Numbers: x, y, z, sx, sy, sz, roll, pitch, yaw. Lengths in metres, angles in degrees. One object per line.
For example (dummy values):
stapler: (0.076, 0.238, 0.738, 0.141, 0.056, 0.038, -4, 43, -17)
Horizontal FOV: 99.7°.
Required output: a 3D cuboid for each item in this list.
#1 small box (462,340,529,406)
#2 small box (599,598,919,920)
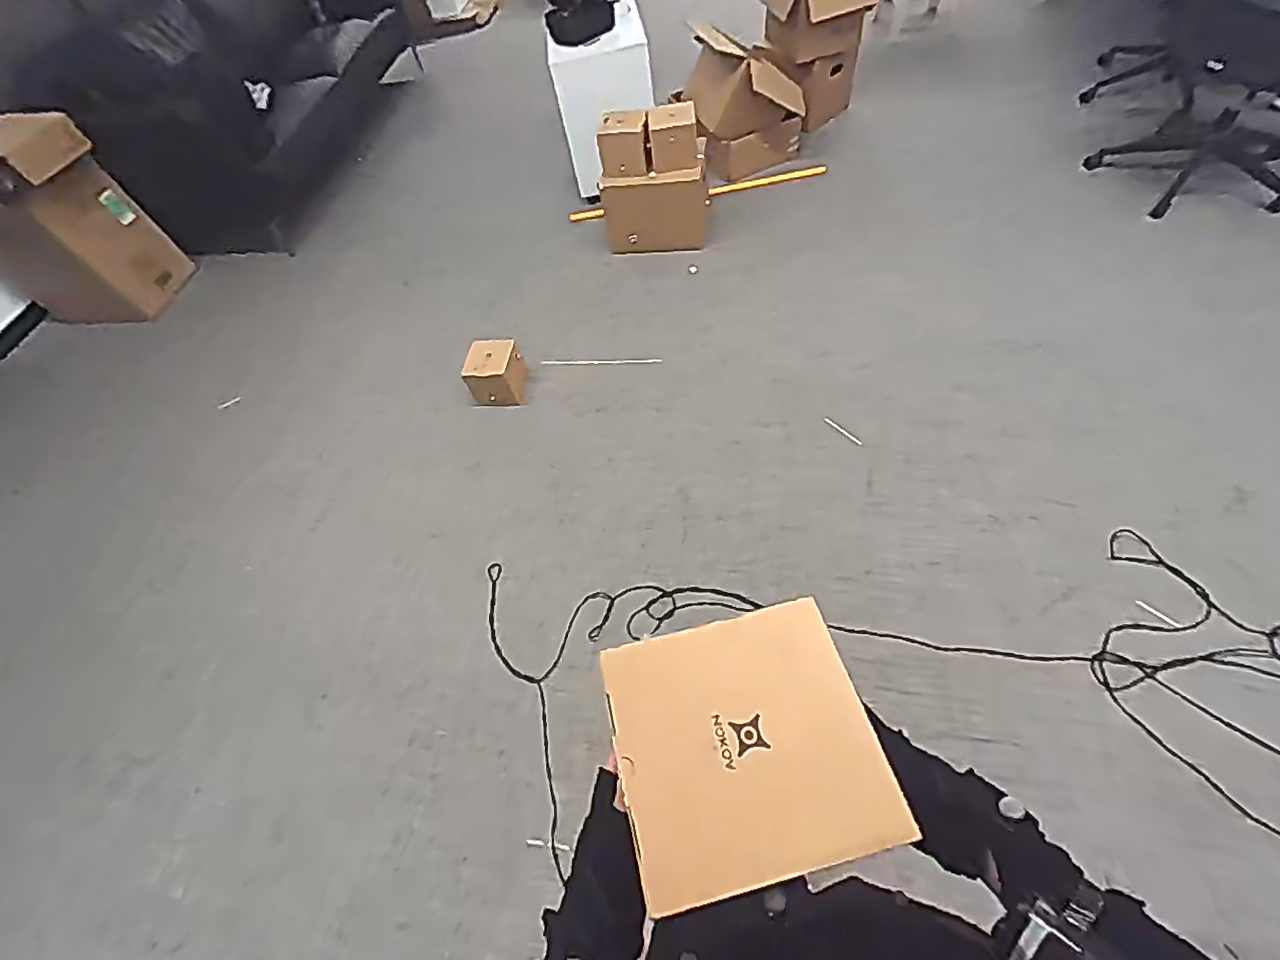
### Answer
small box: (-0.521, -0.391, 1.984, 0.168, 0.176, 0.179, 1, 58, 11)
small box: (0.077, 0.218, 0.433, 0.179, 0.176, 0.168, -15, 56, -3)
